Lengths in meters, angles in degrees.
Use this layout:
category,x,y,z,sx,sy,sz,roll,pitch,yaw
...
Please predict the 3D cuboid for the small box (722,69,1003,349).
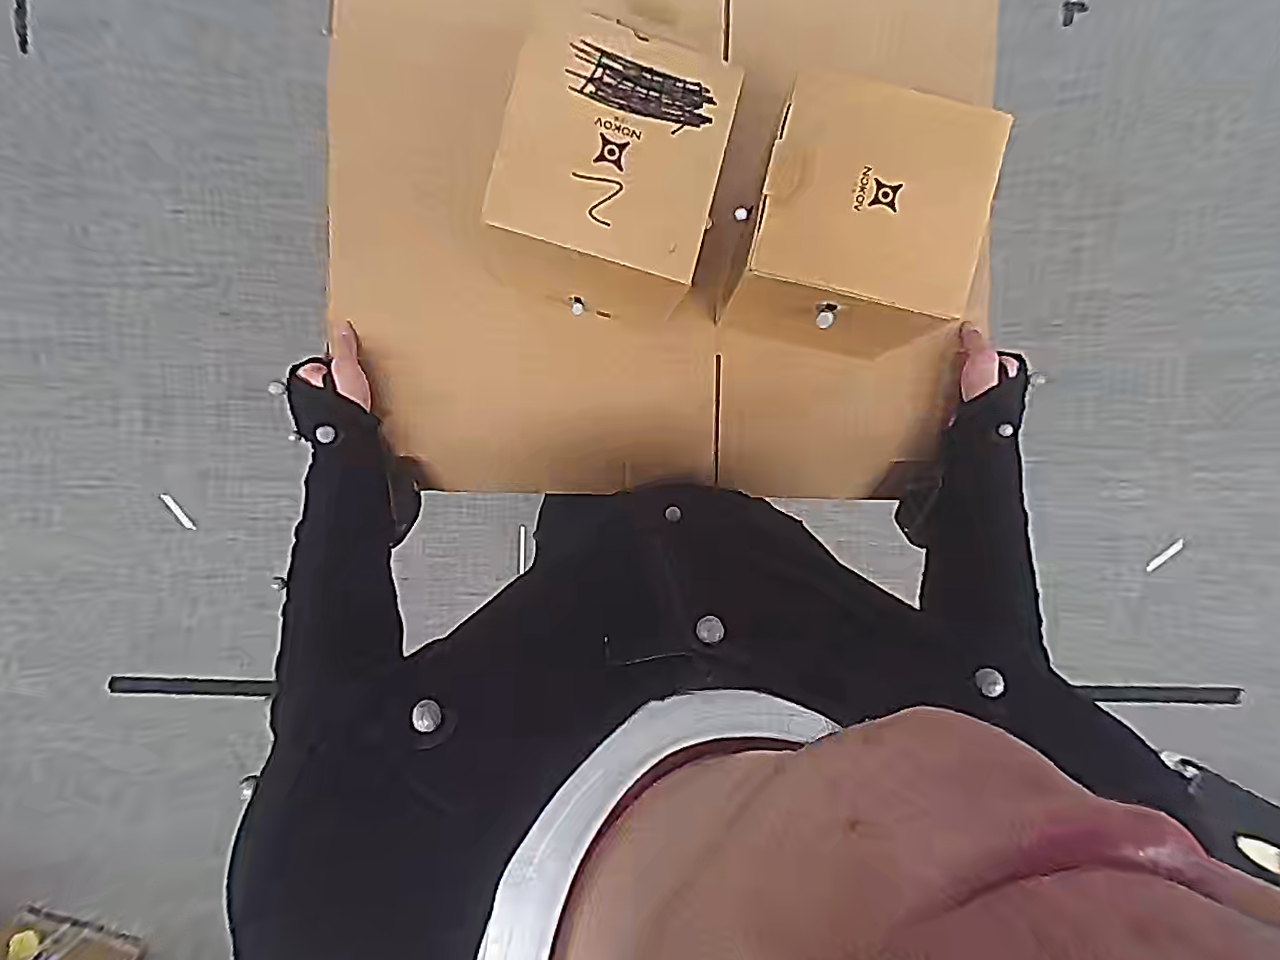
category,x,y,z,sx,sy,sz,roll,pitch,yaw
small box,0.190,-0.234,0.517,0.179,0.176,0.168,14,92,0
